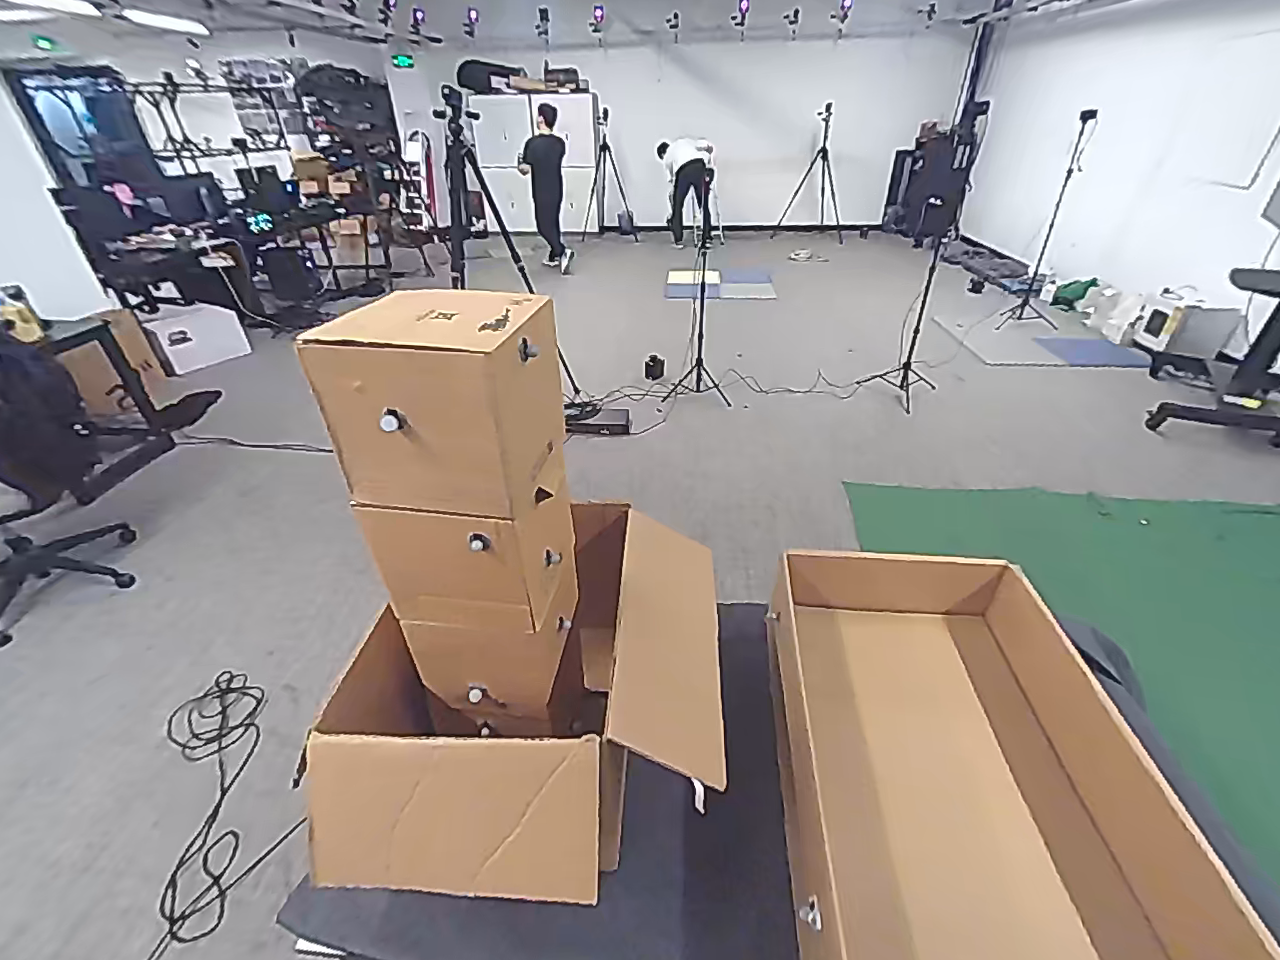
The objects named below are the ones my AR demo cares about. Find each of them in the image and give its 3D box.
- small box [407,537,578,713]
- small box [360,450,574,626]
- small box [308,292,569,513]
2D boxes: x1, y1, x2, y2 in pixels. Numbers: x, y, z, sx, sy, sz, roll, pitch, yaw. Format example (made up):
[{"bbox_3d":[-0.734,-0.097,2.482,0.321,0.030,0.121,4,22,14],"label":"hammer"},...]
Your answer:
[{"bbox_3d":[-0.183,0.184,0.737,0.168,0.176,0.179,4,37,7],"label":"small box"},{"bbox_3d":[-0.187,0.053,0.643,0.179,0.176,0.168,5,35,7],"label":"small box"},{"bbox_3d":[-0.181,-0.082,0.549,0.179,0.176,0.168,5,35,8],"label":"small box"}]
